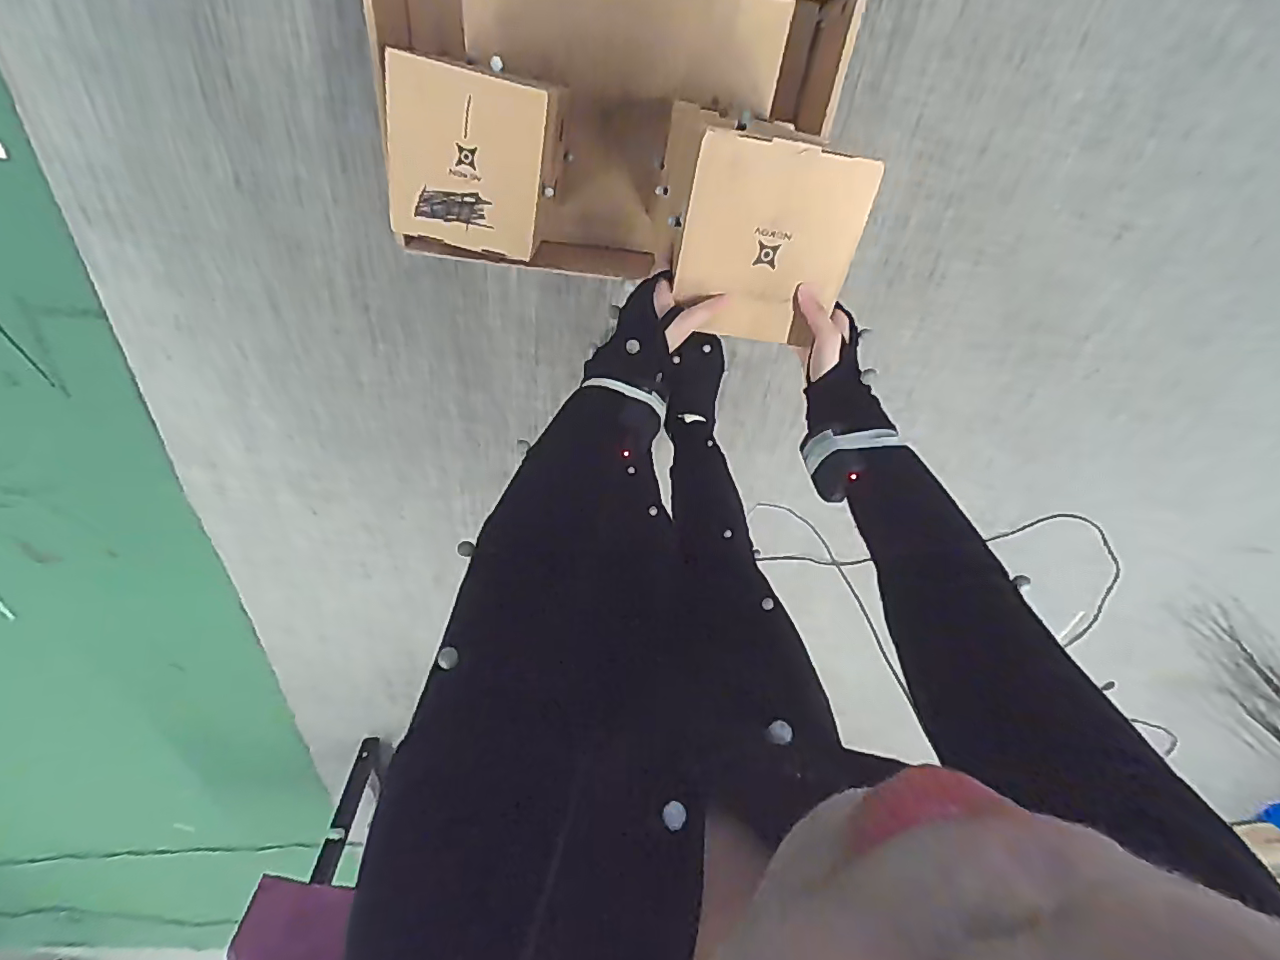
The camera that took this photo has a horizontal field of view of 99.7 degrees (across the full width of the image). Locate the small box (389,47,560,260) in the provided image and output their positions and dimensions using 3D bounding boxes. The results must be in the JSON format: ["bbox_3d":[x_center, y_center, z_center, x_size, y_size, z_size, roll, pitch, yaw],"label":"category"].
[{"bbox_3d":[-0.194,-0.398,0.666,0.168,0.176,0.179,9,124,-9],"label":"small box"}]

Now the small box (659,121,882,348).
[{"bbox_3d":[0.117,-0.265,0.576,0.168,0.176,0.179,7,126,-7],"label":"small box"}]
